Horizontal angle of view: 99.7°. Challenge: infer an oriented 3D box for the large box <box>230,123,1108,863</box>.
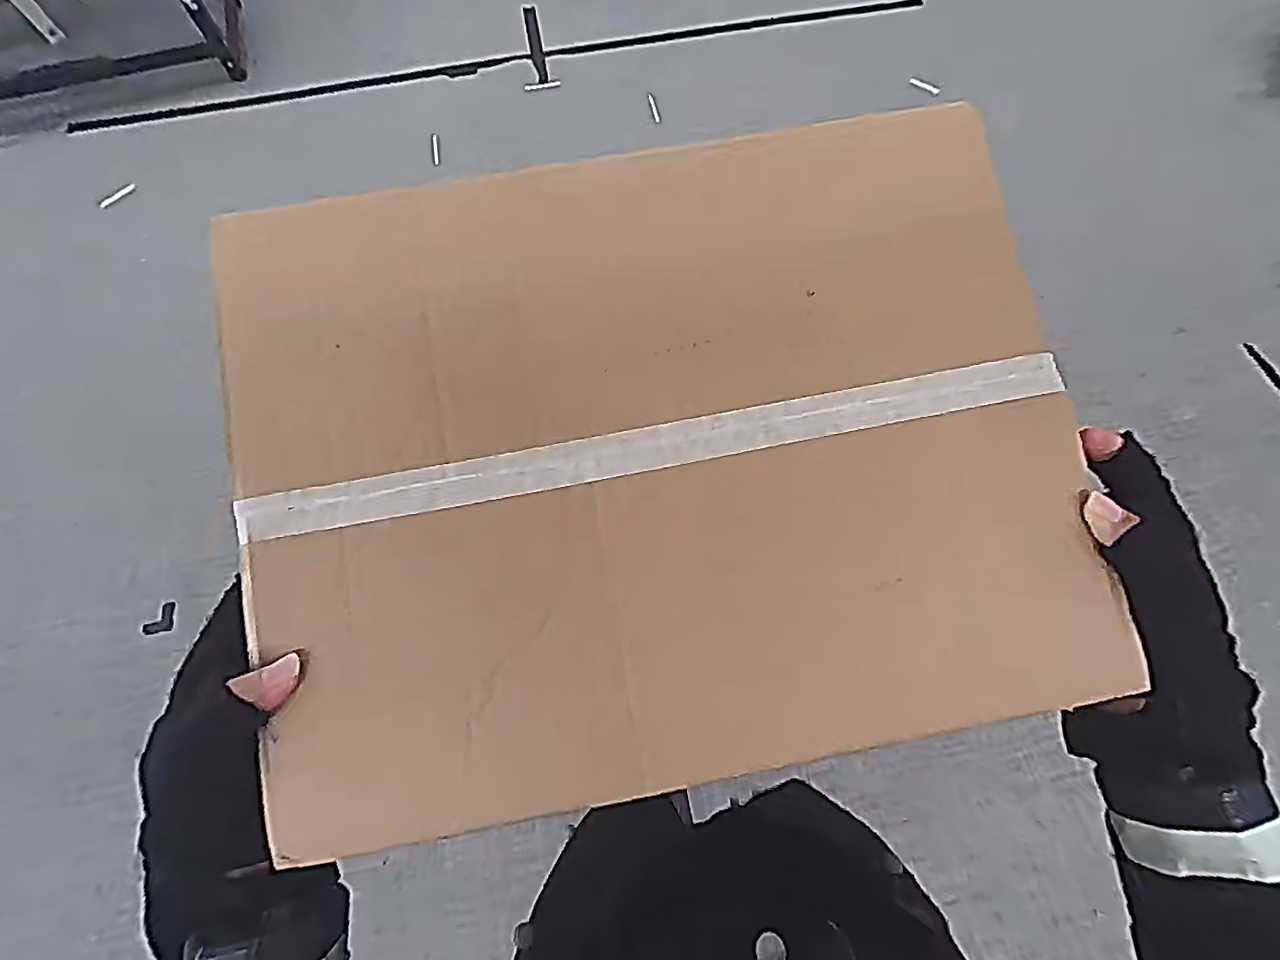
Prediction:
[{"bbox_3d":[0.007,0.006,0.420,0.408,0.320,0.320,-11,82,-2],"label":"large box"}]
